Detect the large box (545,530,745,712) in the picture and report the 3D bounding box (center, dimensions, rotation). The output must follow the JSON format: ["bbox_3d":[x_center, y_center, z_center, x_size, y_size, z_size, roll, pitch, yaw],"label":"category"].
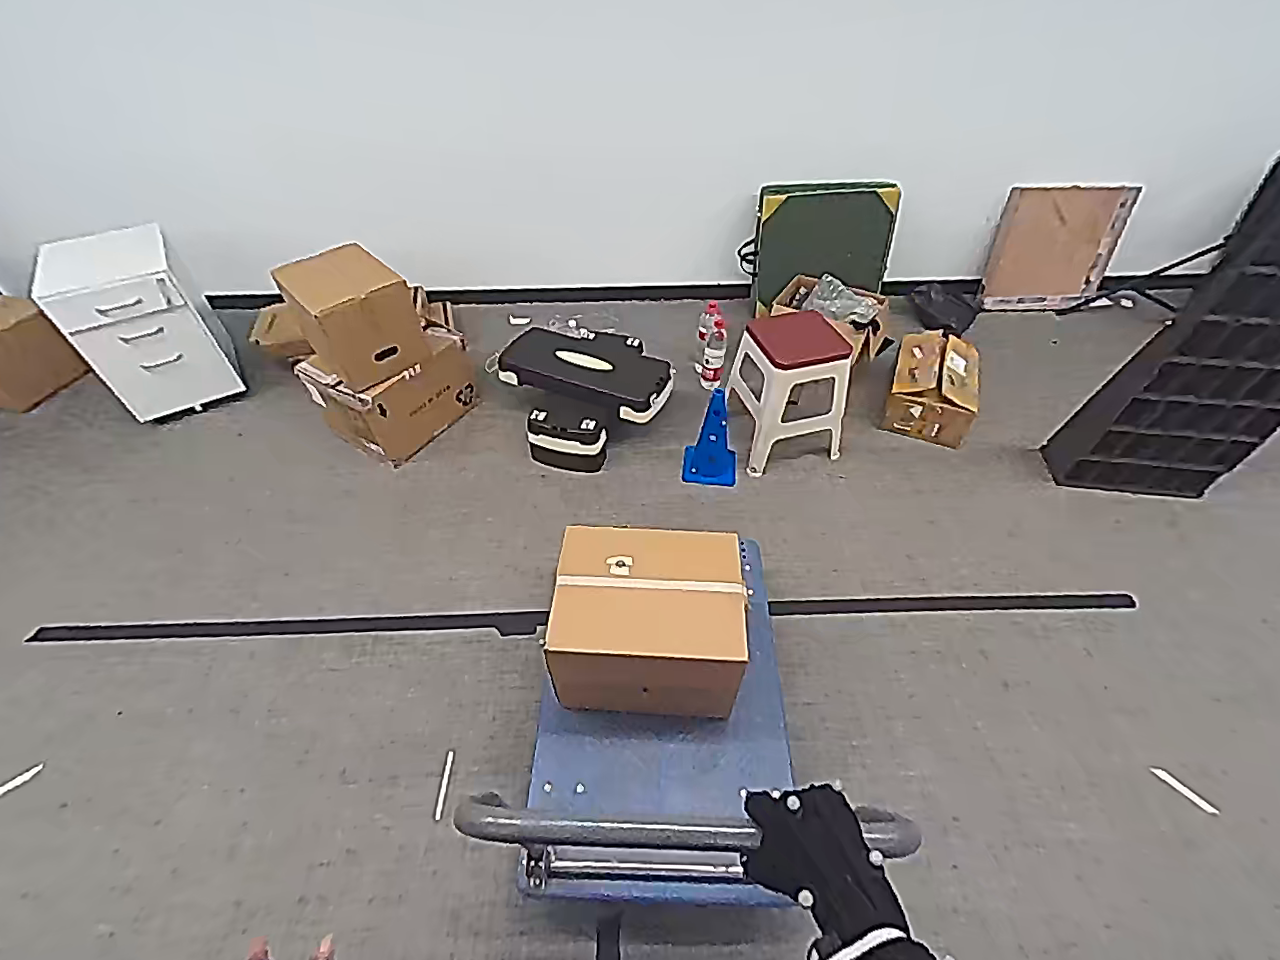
[{"bbox_3d":[0.019,0.335,1.275,0.408,0.320,0.320,2,47,3],"label":"large box"}]
